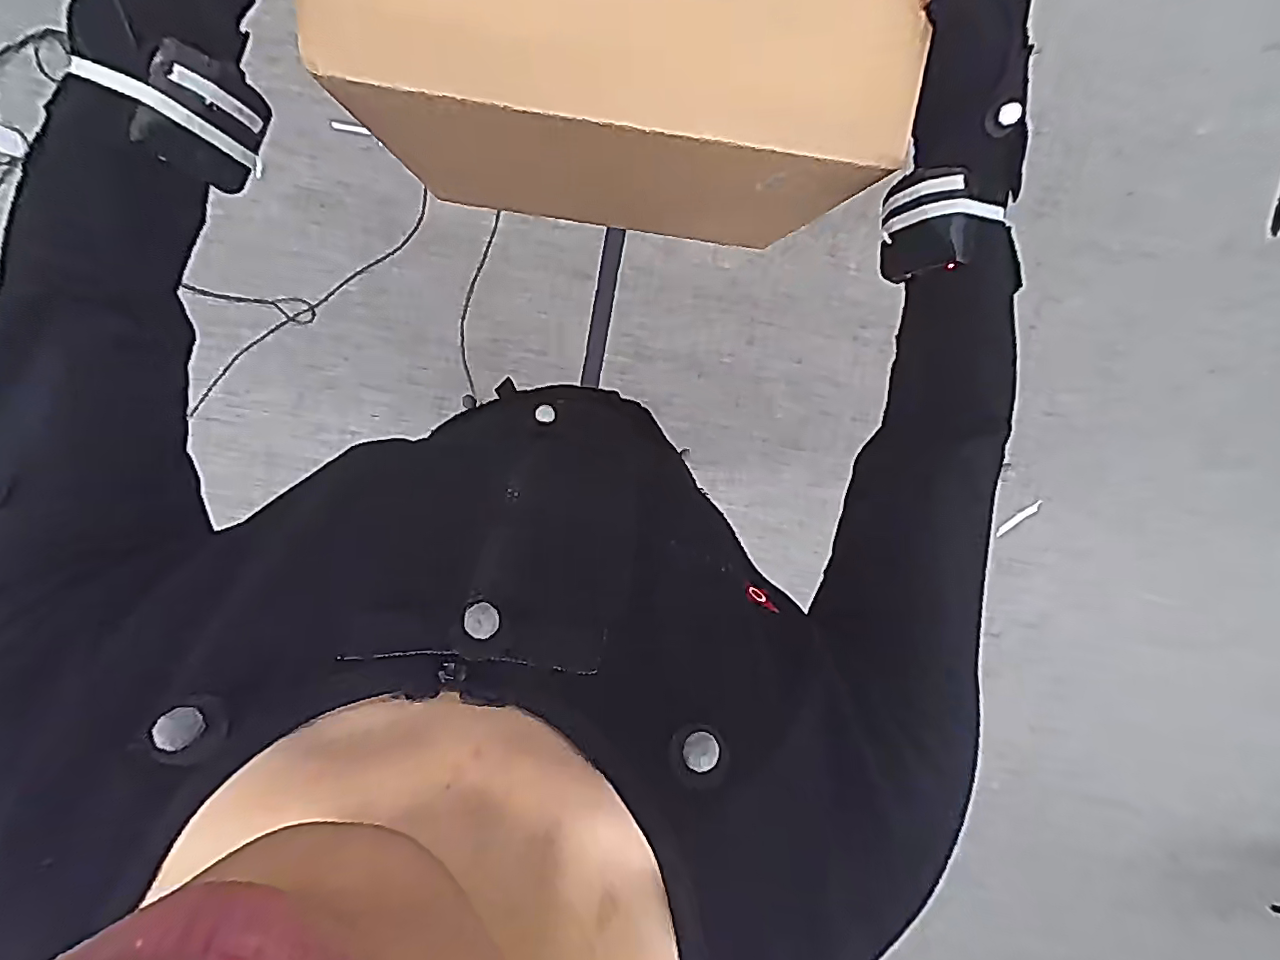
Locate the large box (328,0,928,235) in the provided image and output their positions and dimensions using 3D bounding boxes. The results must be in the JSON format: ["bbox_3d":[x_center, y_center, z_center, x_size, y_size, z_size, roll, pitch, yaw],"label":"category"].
[{"bbox_3d":[-0.007,-0.433,0.483,0.408,0.320,0.320,5,104,-7],"label":"large box"}]
